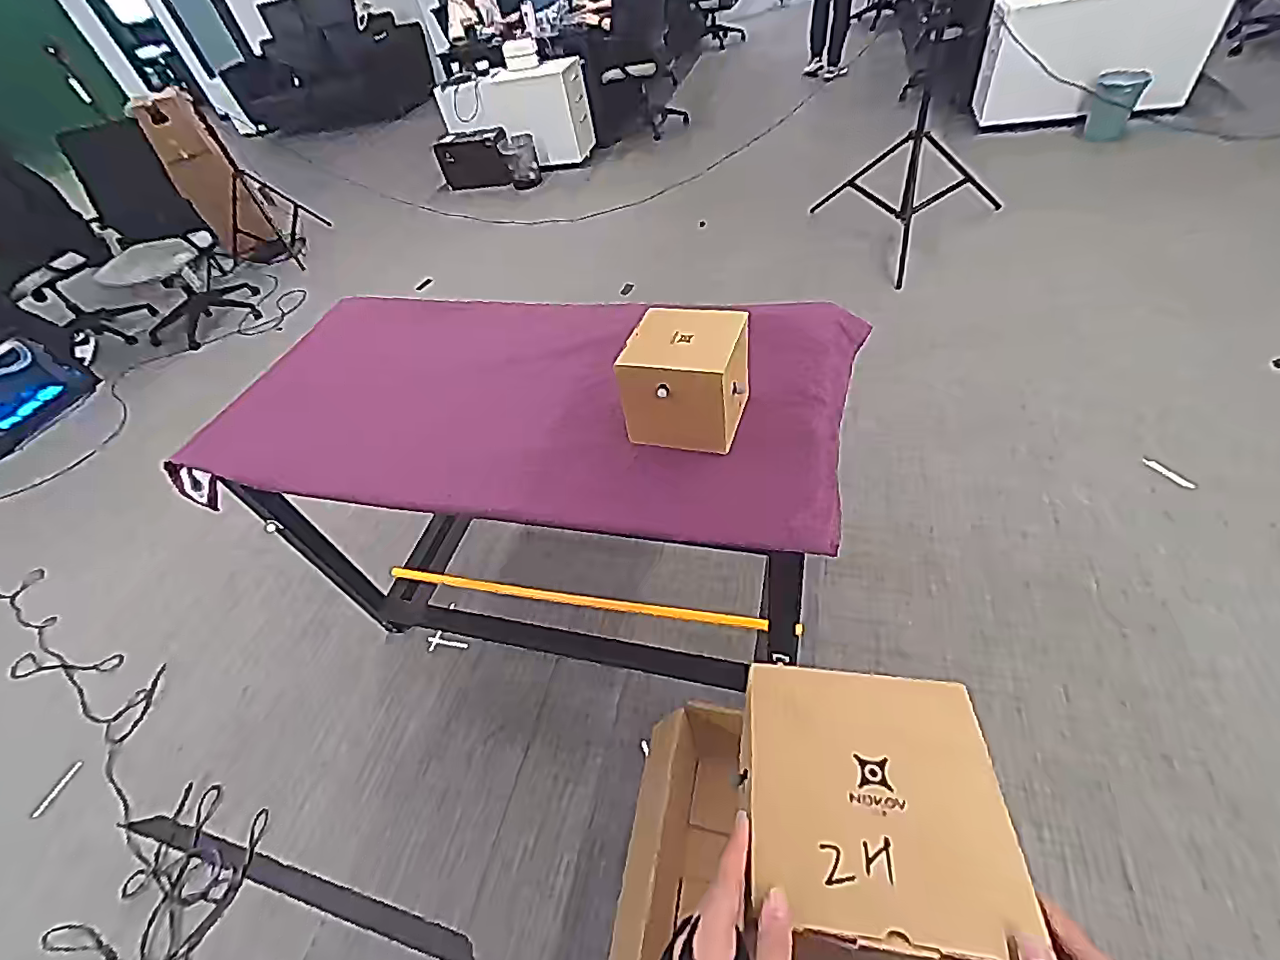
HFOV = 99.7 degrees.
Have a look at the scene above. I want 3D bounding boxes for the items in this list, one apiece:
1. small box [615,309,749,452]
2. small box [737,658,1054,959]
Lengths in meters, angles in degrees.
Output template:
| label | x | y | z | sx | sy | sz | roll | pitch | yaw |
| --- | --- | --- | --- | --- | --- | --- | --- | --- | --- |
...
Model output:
| label | x | y | z | sx | sy | sz | roll | pitch | yaw |
| --- | --- | --- | --- | --- | --- | --- | --- | --- | --- |
| small box | 0.081 | -0.165 | 0.907 | 0.179 | 0.176 | 0.168 | 9 | 50 | 21 |
| small box | 0.163 | 0.268 | 0.418 | 0.168 | 0.176 | 0.179 | 3 | 39 | 10 |
